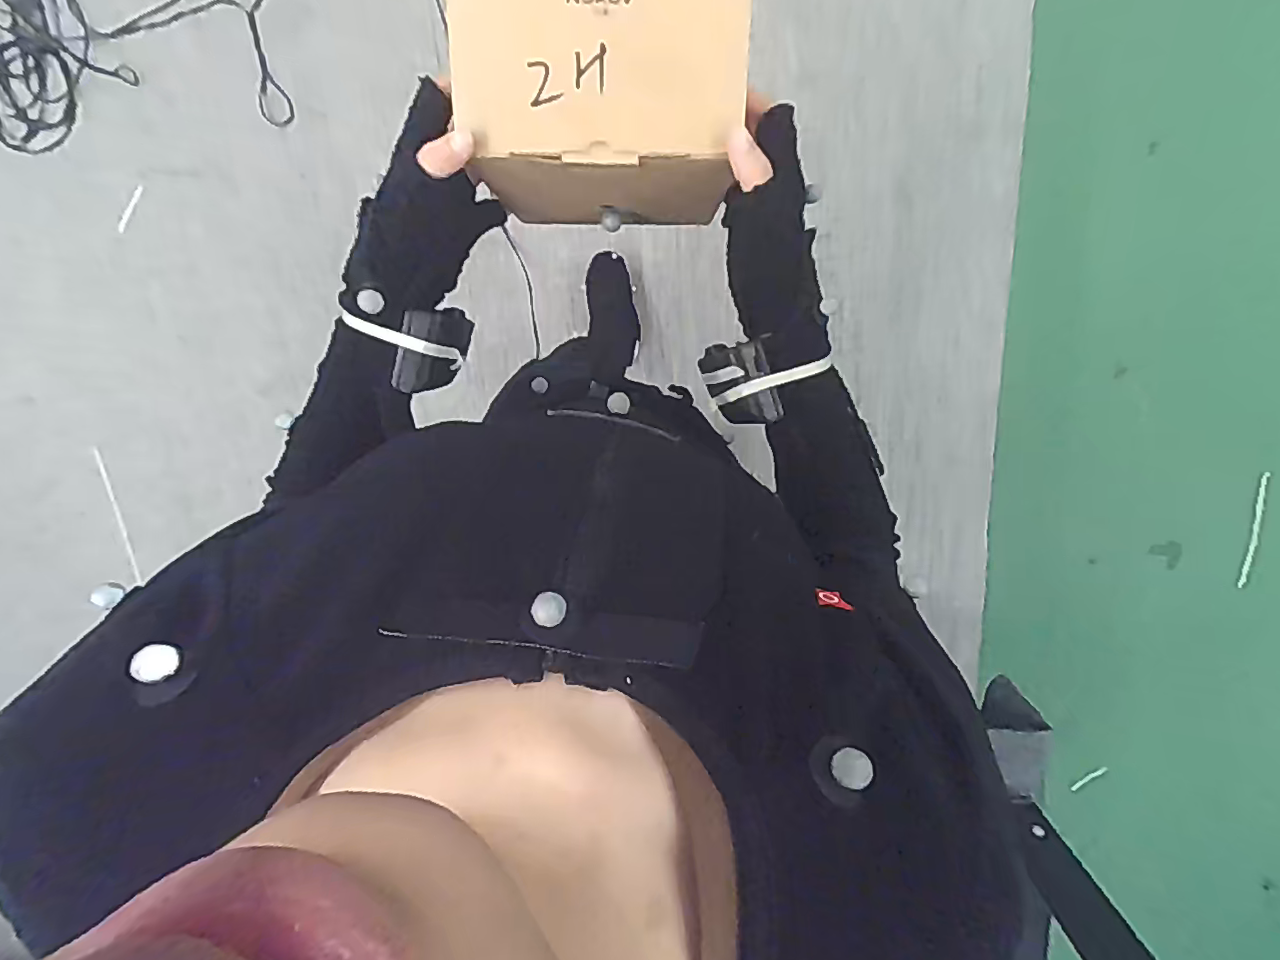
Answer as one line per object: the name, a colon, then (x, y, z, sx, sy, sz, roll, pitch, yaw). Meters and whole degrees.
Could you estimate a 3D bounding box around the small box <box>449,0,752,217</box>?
small box: (-0.020, -0.295, 0.364, 0.168, 0.176, 0.179, 1, 102, 1)
